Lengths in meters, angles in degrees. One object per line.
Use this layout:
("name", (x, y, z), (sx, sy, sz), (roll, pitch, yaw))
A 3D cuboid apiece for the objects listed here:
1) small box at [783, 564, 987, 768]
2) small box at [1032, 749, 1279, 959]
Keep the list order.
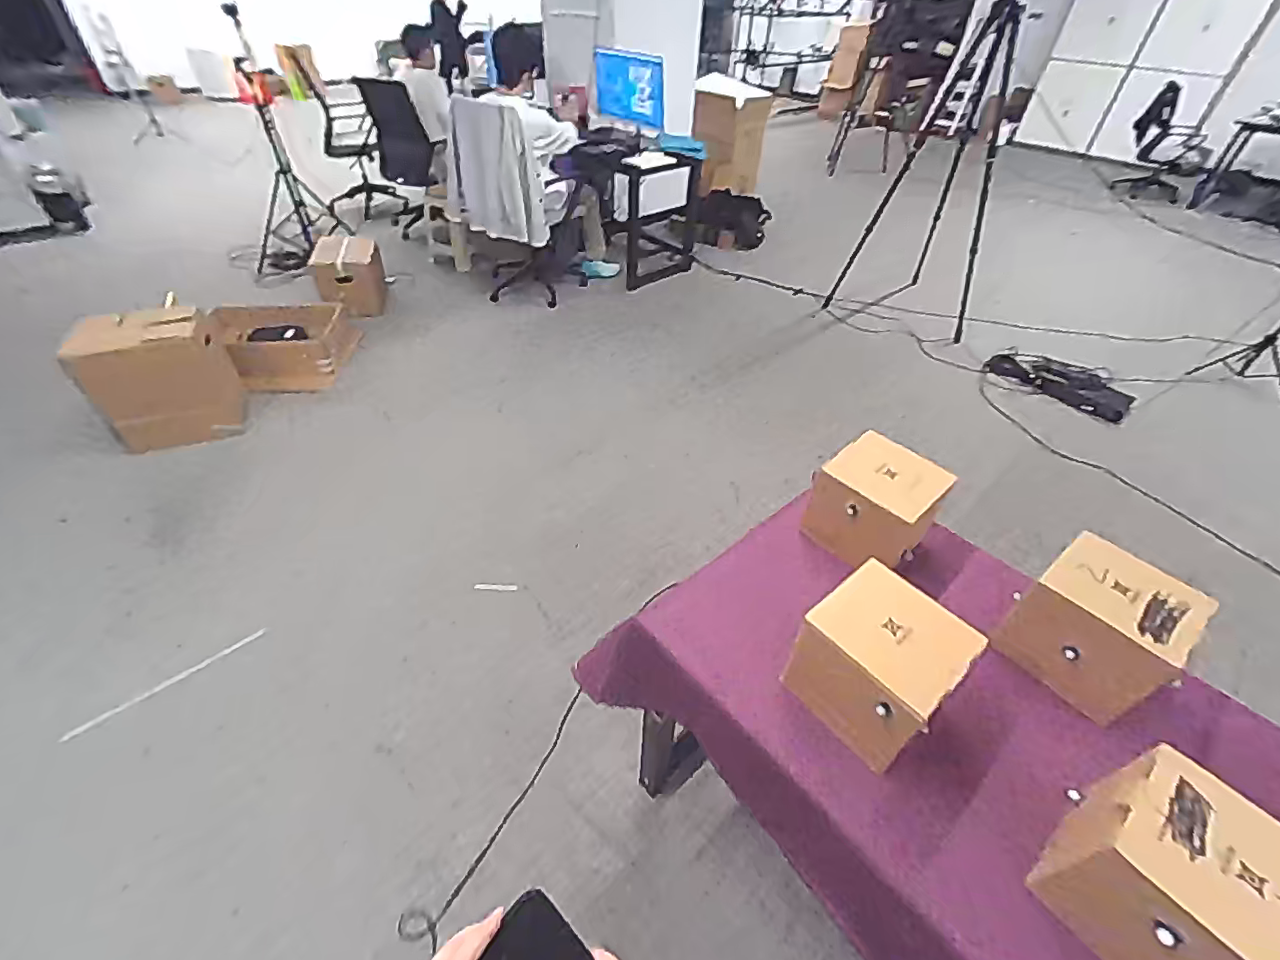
("small box", (0.328, 0.259, 0.758), (0.168, 0.176, 0.179), (-28, 52, -30))
("small box", (0.571, 0.437, 0.573), (0.168, 0.176, 0.179), (-27, 51, -28))
